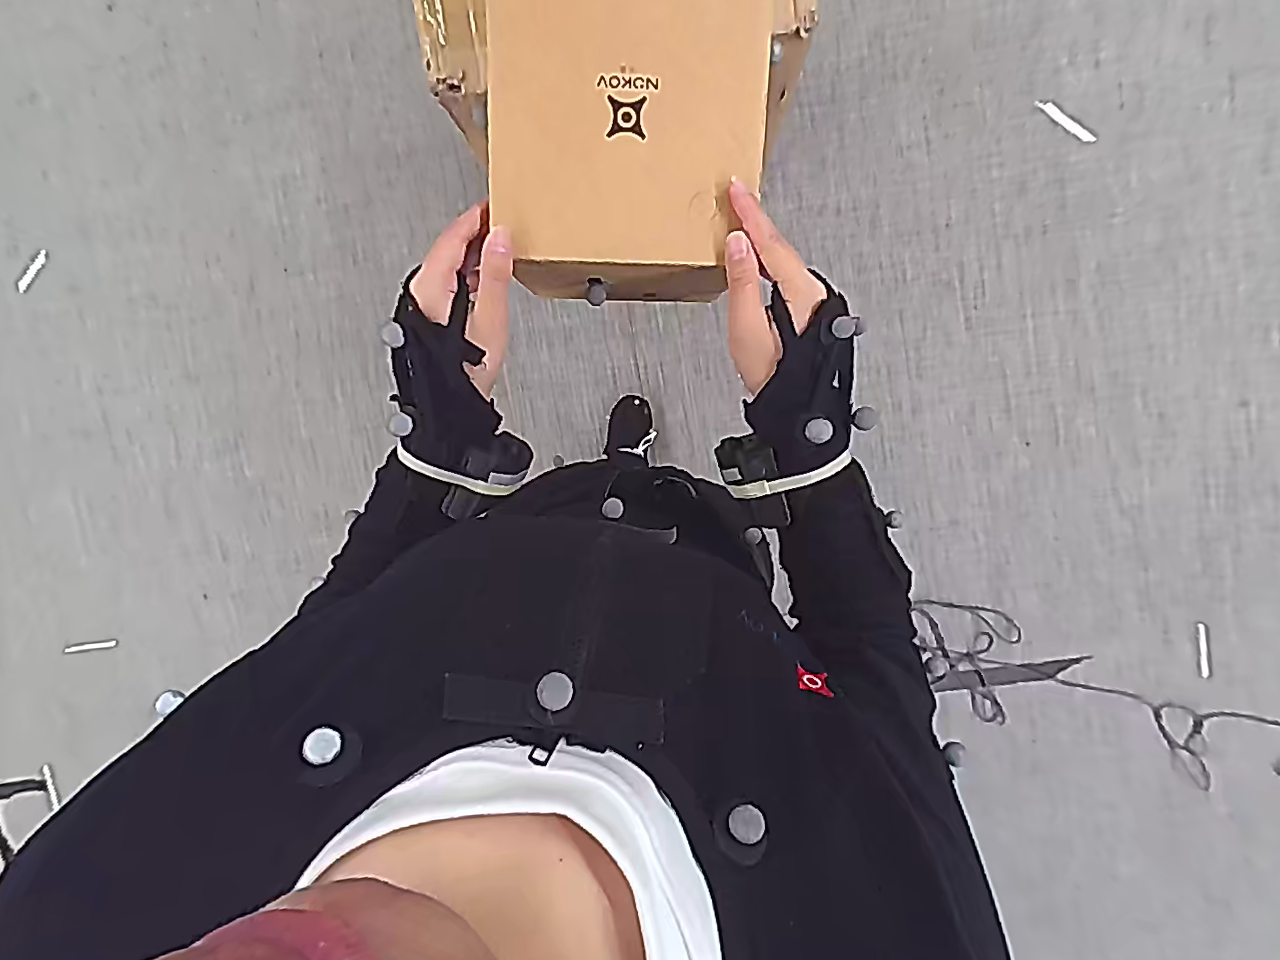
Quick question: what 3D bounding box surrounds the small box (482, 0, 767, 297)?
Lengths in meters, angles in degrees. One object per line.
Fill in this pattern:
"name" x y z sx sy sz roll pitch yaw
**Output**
"small box" -0.010 -0.236 0.395 0.168 0.176 0.179 1 99 0
